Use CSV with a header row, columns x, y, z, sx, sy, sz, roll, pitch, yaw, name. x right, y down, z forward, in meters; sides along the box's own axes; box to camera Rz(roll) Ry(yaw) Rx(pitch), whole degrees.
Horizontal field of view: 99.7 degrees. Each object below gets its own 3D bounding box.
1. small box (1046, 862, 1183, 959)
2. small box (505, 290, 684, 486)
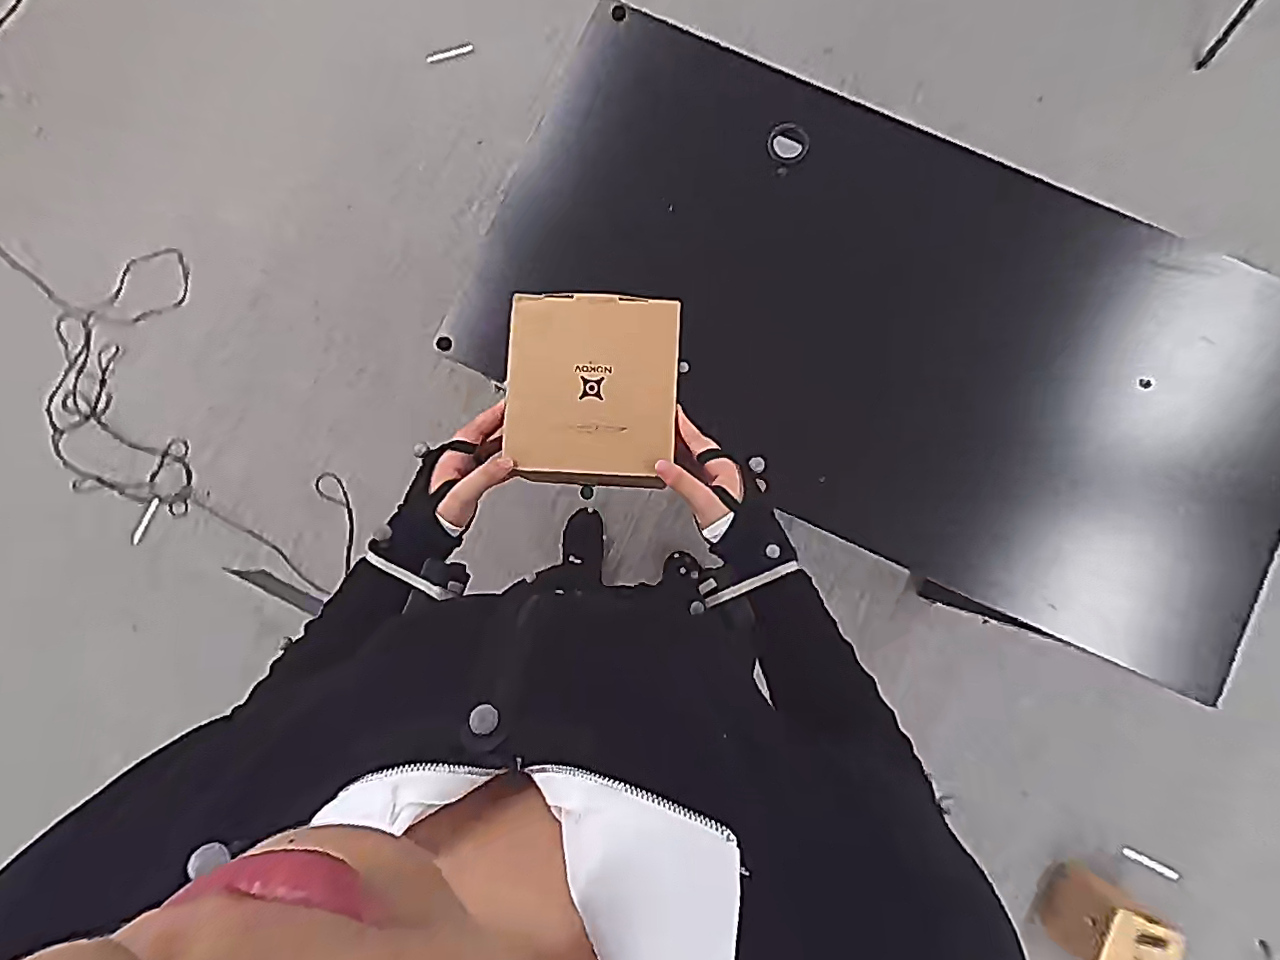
x,y,z,sx,sy,sz,roll,pitch,yaw,name
1.154,1.098,1.331,0.168,0.176,0.179,22,88,3,small box
-0.043,-0.089,0.601,0.168,0.176,0.179,3,86,1,small box
